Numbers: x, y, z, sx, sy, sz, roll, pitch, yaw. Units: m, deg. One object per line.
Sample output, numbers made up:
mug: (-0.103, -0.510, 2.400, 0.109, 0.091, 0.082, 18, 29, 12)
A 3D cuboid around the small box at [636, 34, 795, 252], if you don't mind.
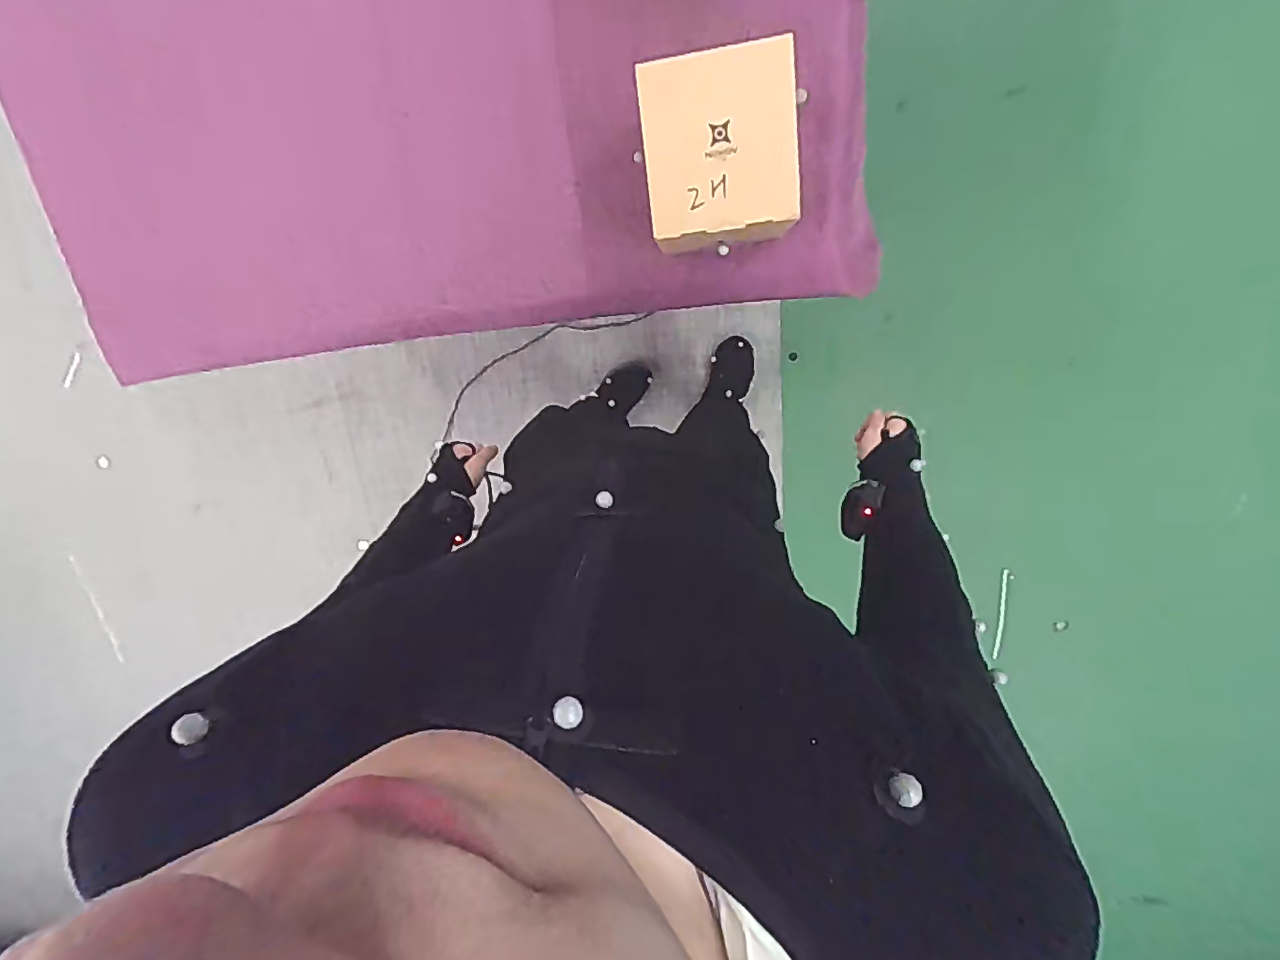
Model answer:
small box: (0.092, -0.391, 0.661, 0.168, 0.176, 0.179, -4, 107, 9)
